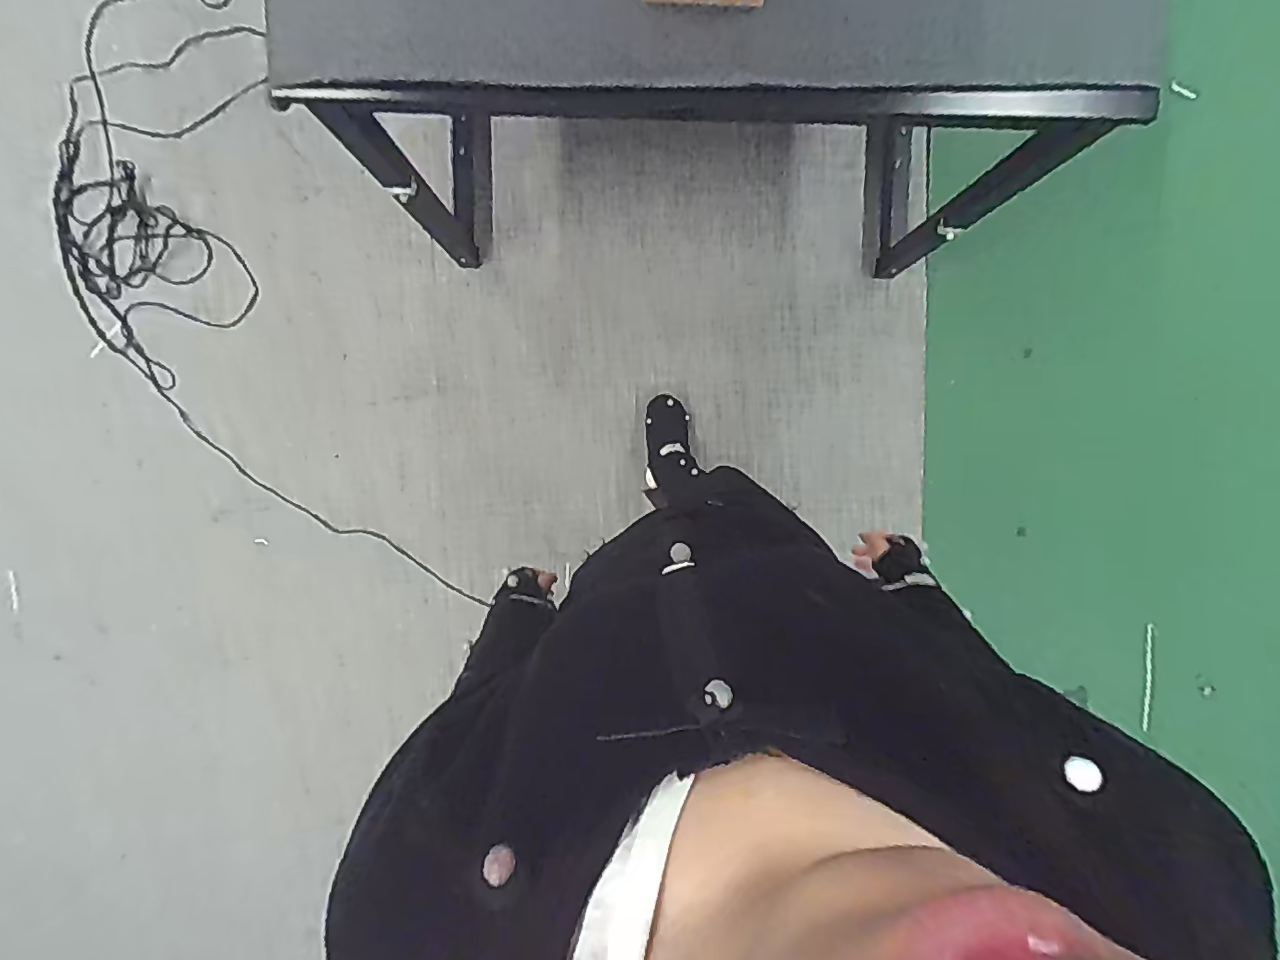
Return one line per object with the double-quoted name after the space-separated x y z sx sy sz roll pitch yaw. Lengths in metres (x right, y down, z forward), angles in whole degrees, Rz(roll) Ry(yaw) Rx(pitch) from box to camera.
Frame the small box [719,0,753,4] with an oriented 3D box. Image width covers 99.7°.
0.085 -0.718 0.629 0.168 0.176 0.179 2 92 0 "small box"
